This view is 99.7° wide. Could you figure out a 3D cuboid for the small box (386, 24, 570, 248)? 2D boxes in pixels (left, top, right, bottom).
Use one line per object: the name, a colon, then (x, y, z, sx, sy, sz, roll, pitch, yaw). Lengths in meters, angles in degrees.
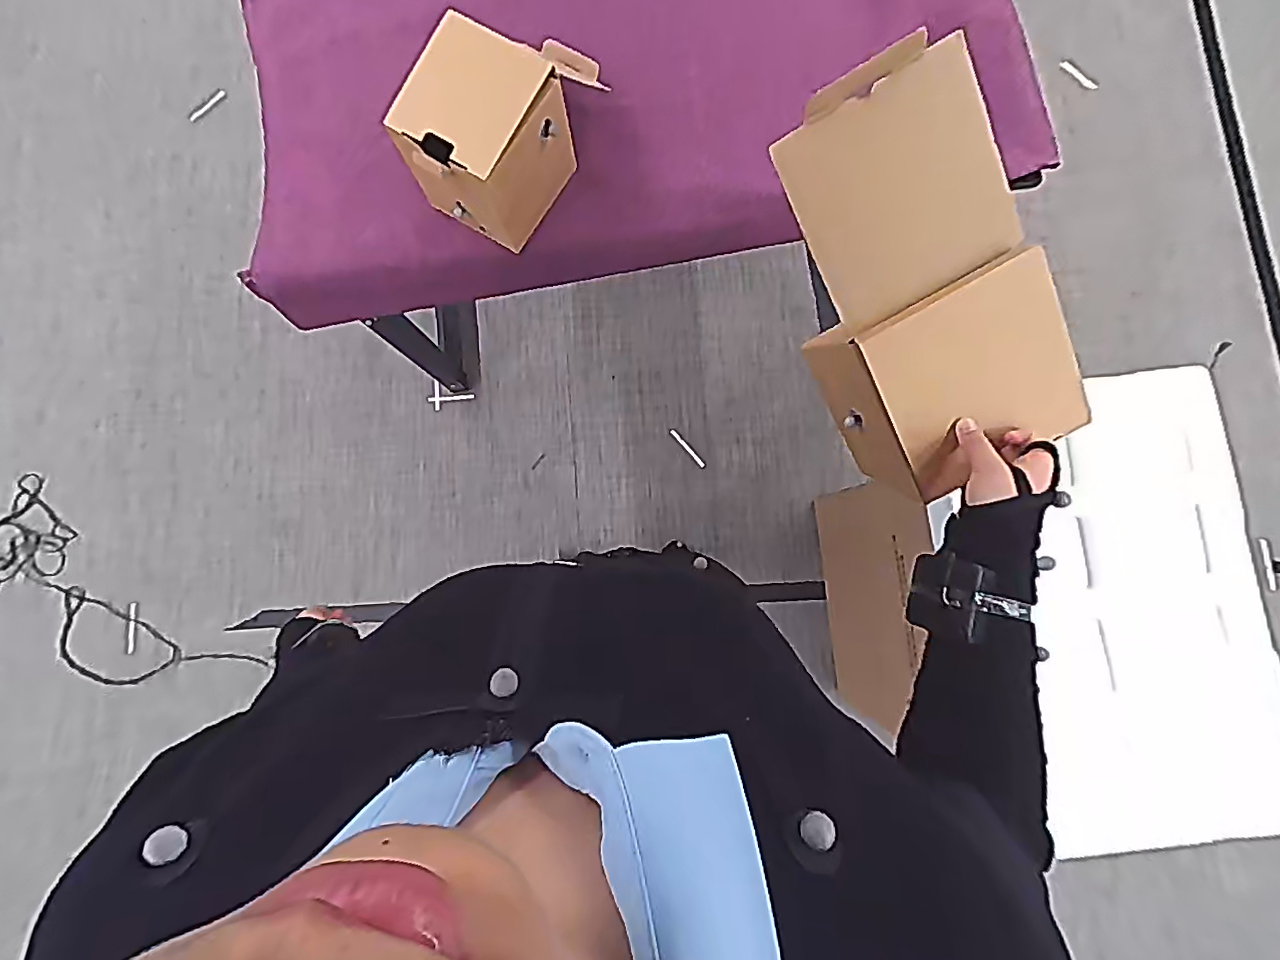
small box: (-0.216, -0.480, 0.778, 0.168, 0.176, 0.179, 31, 84, 6)
